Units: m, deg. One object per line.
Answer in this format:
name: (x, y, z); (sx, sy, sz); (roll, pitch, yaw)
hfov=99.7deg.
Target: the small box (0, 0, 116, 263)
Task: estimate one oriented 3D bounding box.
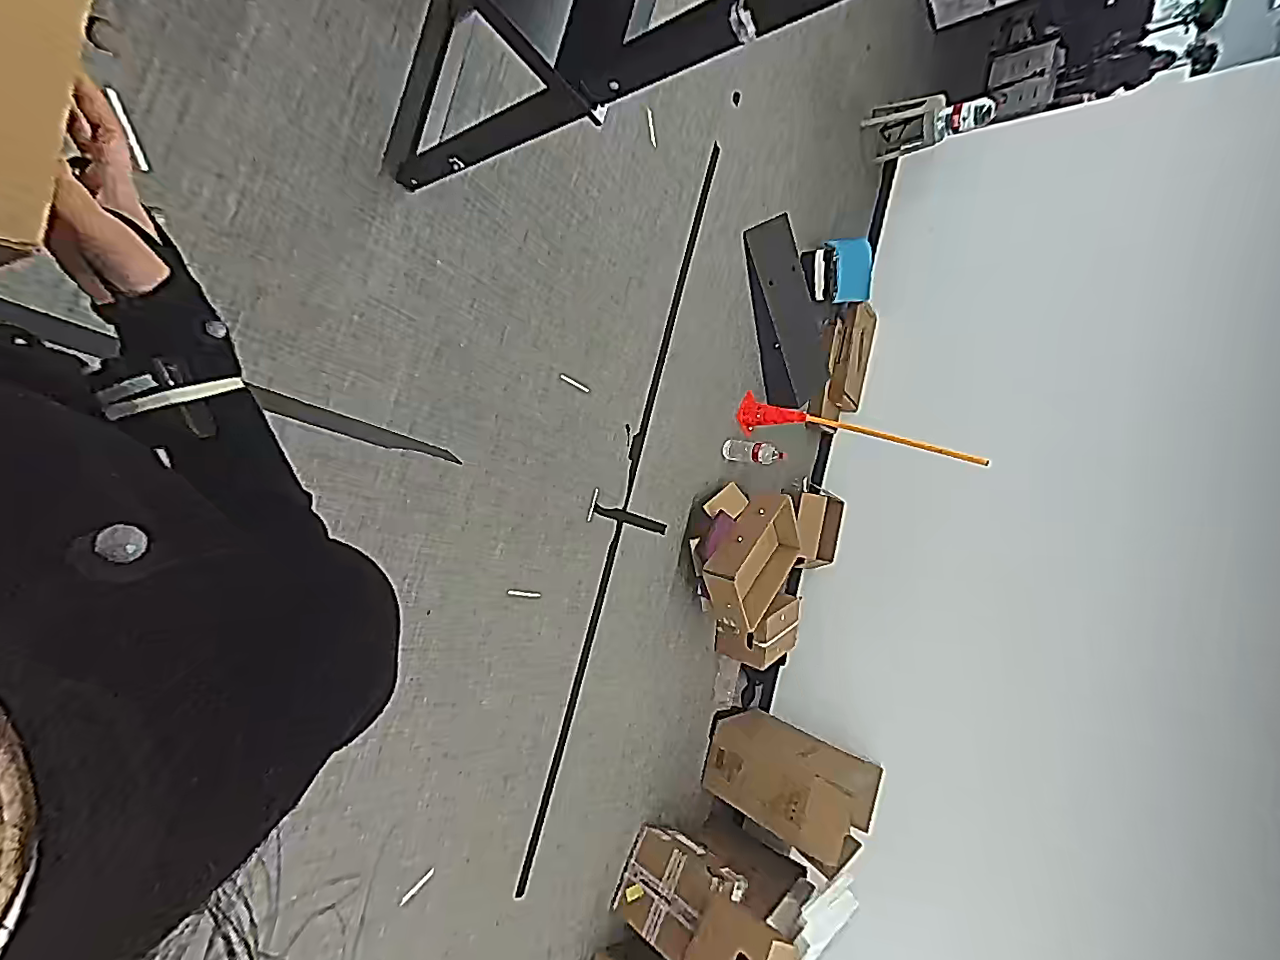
small box: (-0.376, -0.217, 0.242); (0.168, 0.176, 0.179); (11, 92, -55)
